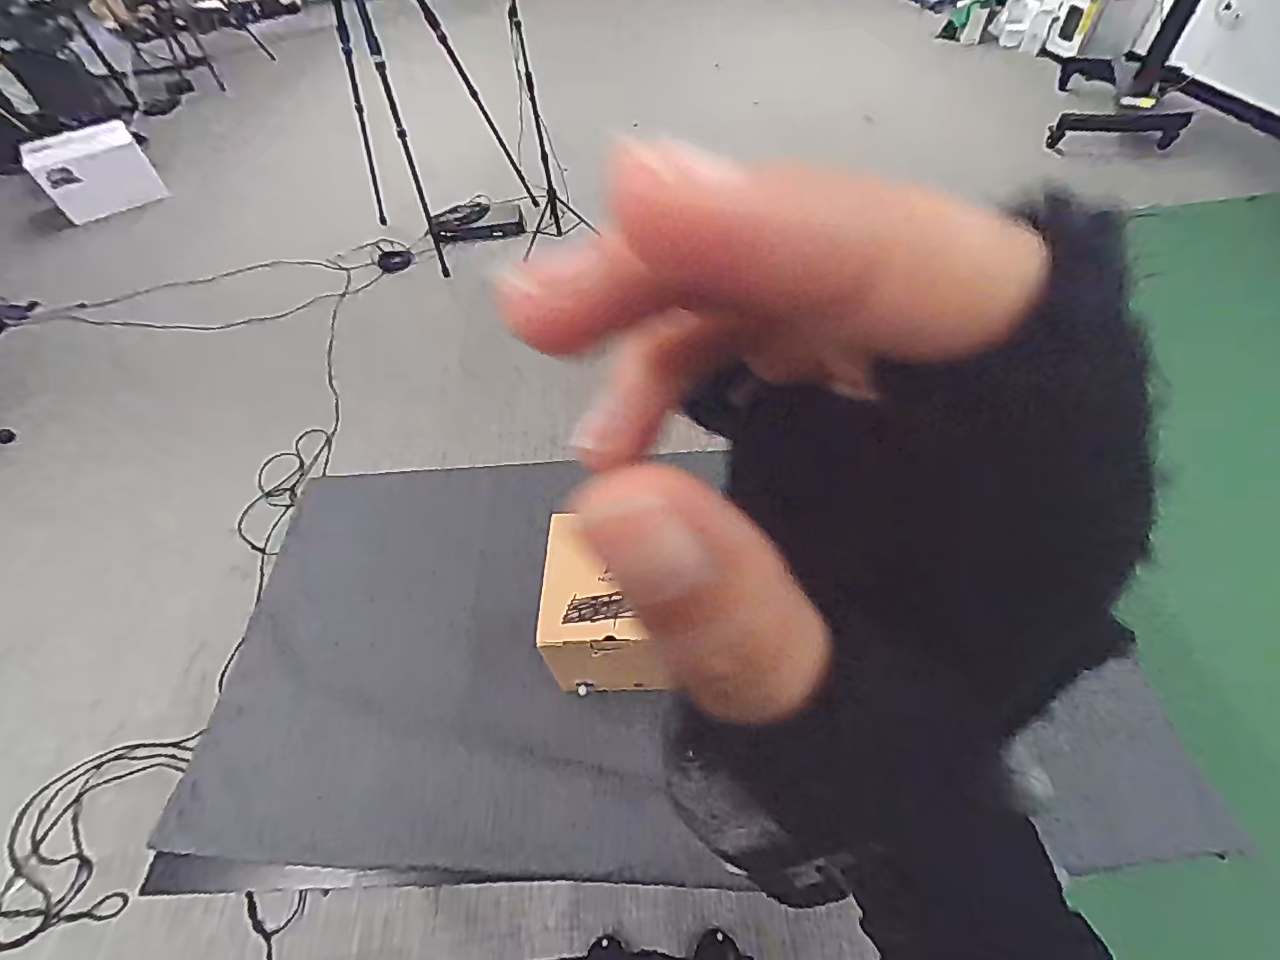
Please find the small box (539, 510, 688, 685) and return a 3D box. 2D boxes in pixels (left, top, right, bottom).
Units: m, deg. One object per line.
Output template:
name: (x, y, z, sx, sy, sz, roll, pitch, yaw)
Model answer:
small box: (-0.023, 0.158, 0.705, 0.168, 0.176, 0.179, -2, 51, 4)
